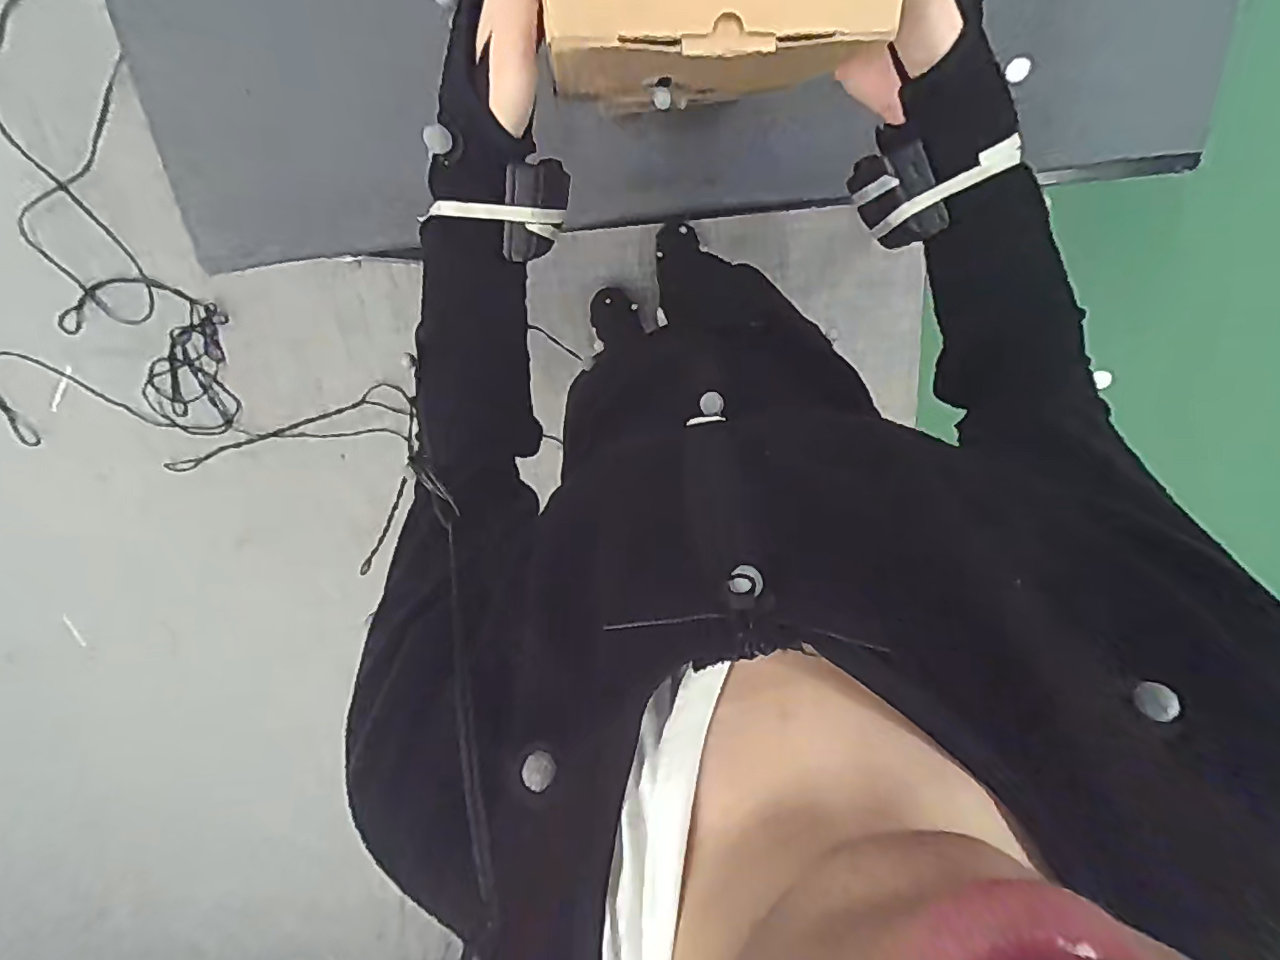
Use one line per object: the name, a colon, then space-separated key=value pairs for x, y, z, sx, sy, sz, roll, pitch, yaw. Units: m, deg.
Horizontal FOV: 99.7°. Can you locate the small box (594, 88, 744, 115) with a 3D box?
small box: x=0.027 y=-0.470 z=0.497 sx=0.168 sy=0.176 sz=0.179 roll=-7 pitch=109 yaw=-1

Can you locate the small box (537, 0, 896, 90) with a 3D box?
small box: x=0.024 y=-0.320 z=0.274 sx=0.168 sy=0.176 sz=0.179 roll=-5 pitch=119 yaw=-5
